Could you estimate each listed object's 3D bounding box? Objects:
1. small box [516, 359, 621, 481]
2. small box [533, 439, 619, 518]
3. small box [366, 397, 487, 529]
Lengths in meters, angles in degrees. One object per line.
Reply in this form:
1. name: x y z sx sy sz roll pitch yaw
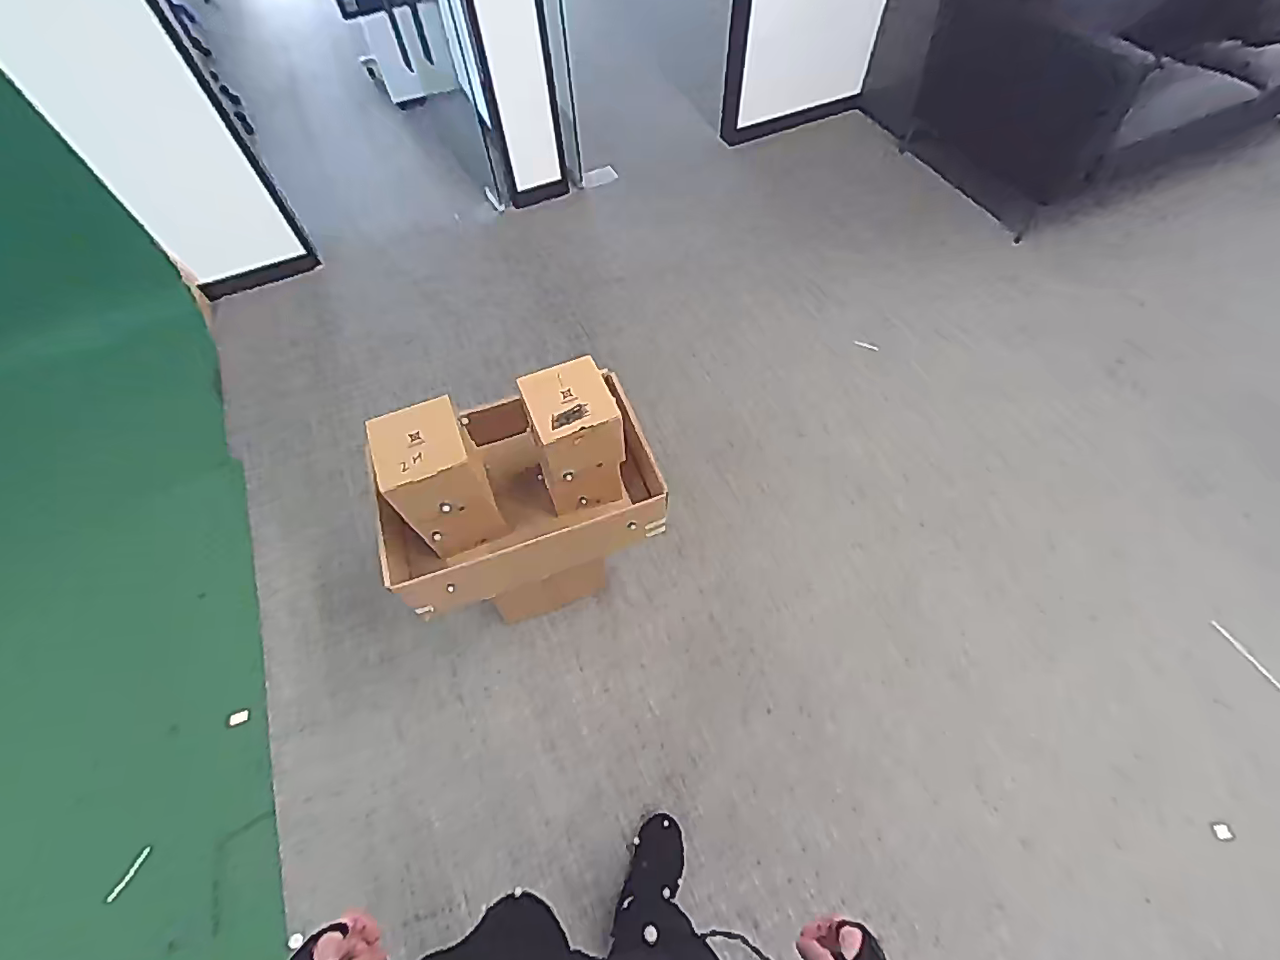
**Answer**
1. small box: -0.144 -0.118 1.139 0.168 0.176 0.179 -20 61 -12
2. small box: -0.152 -0.036 1.282 0.168 0.176 0.179 -16 61 -9
3. small box: -0.423 -0.031 1.088 0.168 0.176 0.179 -20 61 -10
